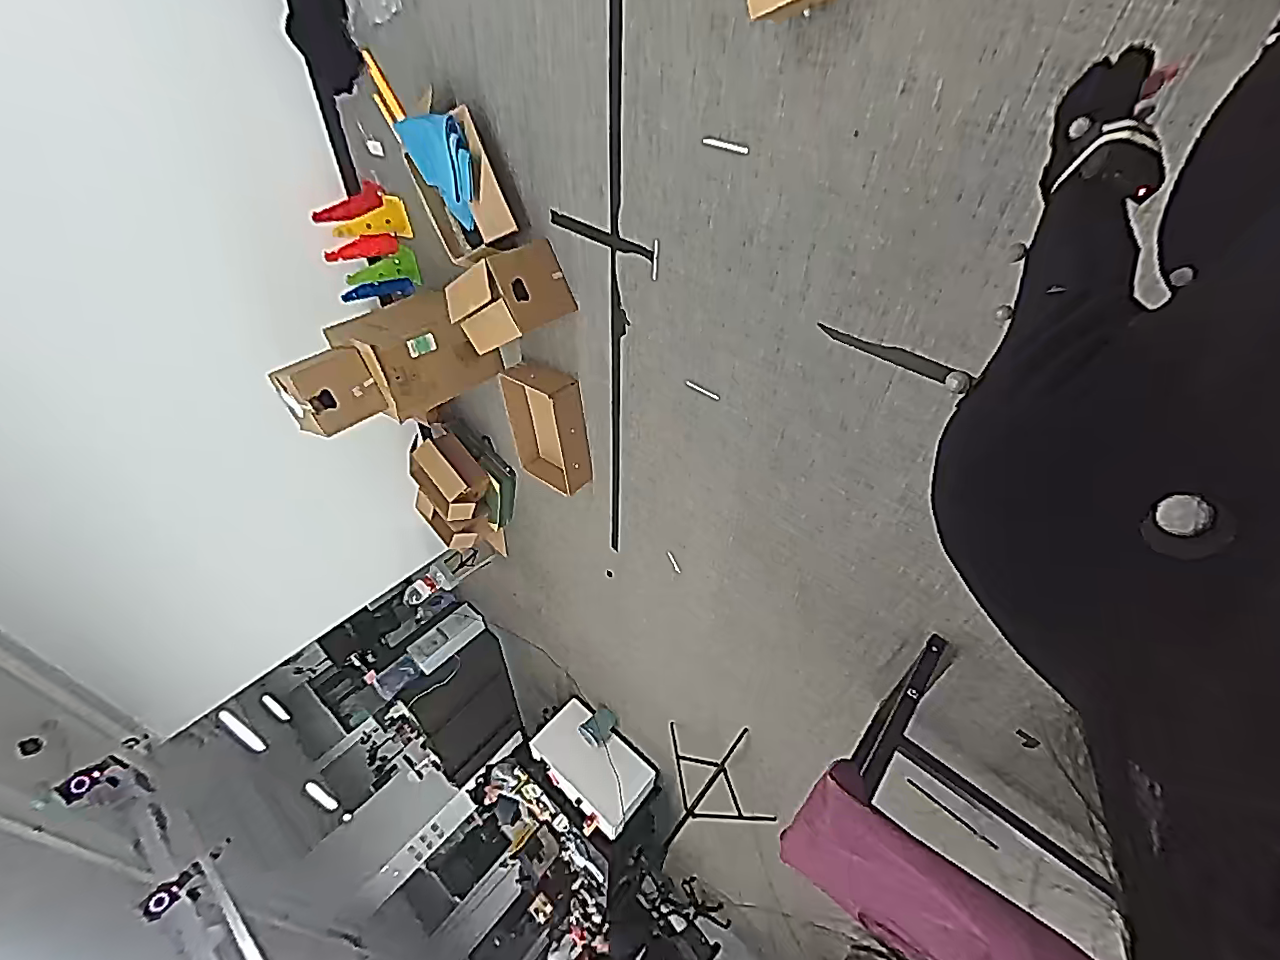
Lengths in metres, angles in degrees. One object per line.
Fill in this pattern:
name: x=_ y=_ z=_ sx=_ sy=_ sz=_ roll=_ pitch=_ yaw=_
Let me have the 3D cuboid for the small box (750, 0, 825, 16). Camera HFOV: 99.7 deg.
small box: x=0.332 y=-1.095 z=1.112 sx=0.168 sy=0.176 sz=0.179 roll=13 pitch=131 yaw=44
